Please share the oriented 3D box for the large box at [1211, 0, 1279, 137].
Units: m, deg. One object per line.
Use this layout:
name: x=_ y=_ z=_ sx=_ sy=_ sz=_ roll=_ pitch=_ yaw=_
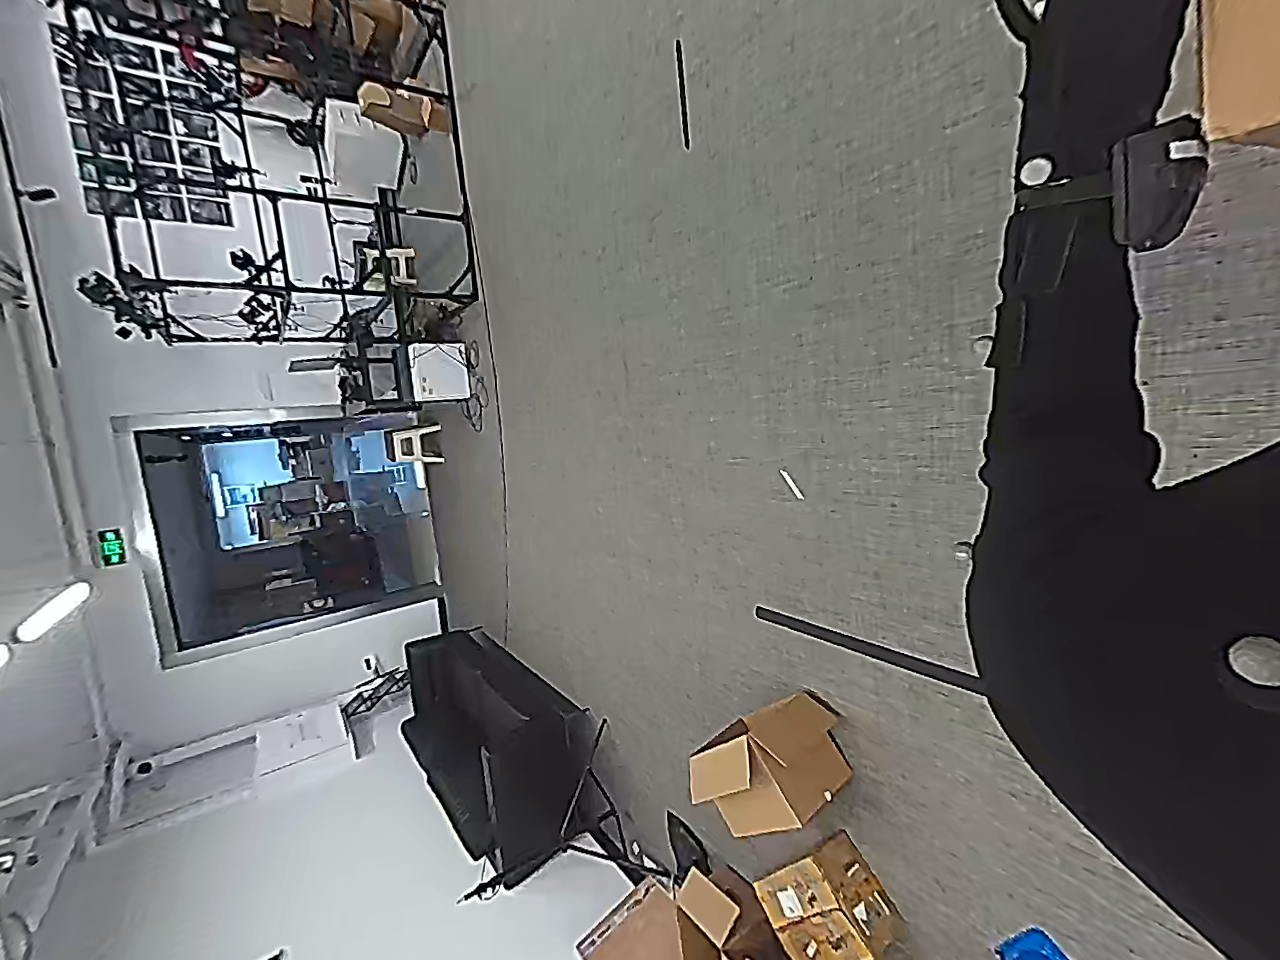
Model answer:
large box: x=0.501 y=-0.373 z=0.178 sx=0.408 sy=0.320 sz=0.320 roll=3 pitch=111 yaw=56
